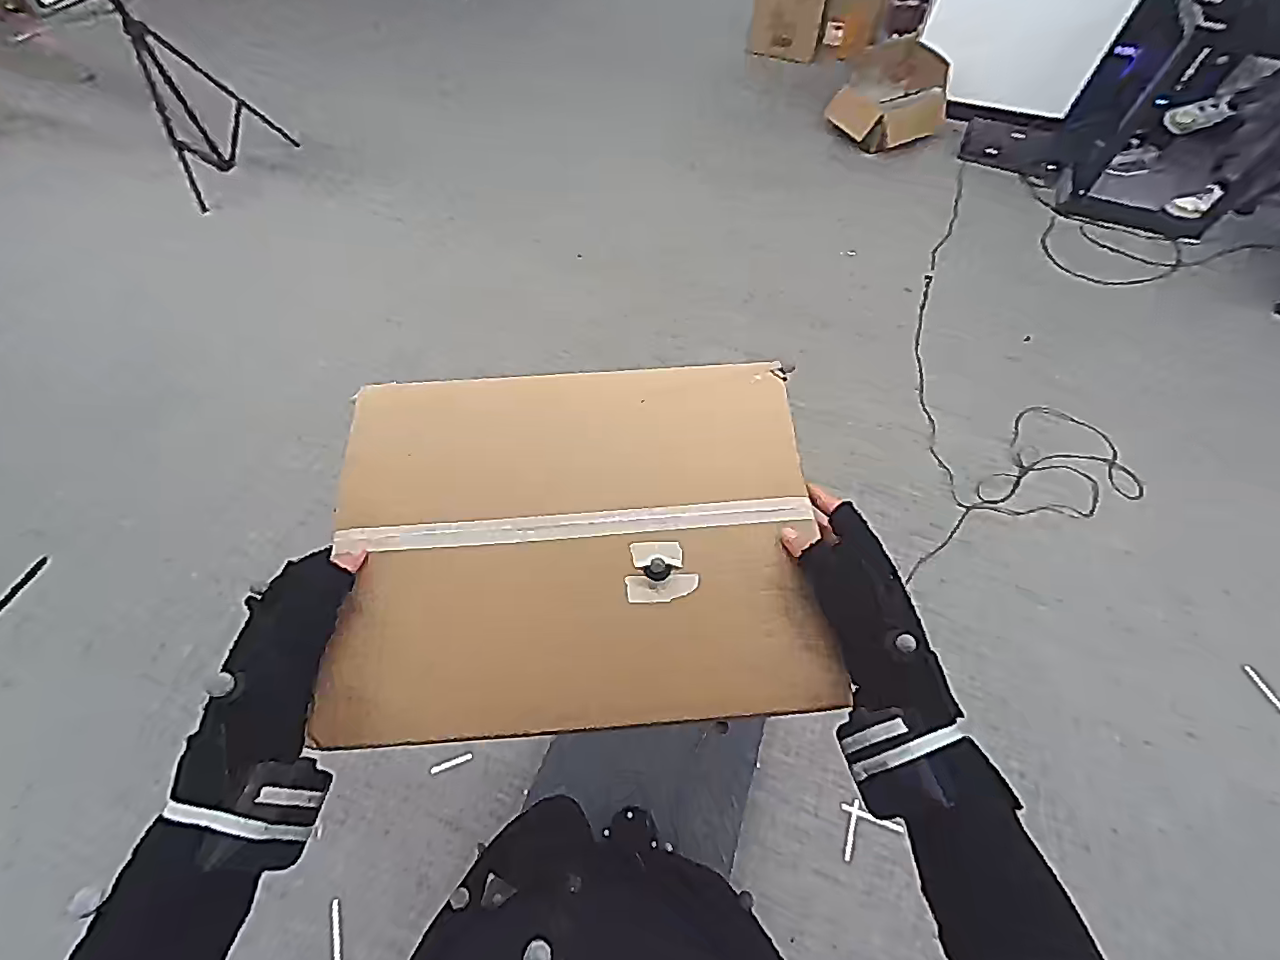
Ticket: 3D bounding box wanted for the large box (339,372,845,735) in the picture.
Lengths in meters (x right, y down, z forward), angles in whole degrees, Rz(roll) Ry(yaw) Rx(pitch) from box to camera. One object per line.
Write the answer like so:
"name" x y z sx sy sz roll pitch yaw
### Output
"large box" -0.046 0.103 0.614 0.408 0.320 0.320 -3 66 -2
